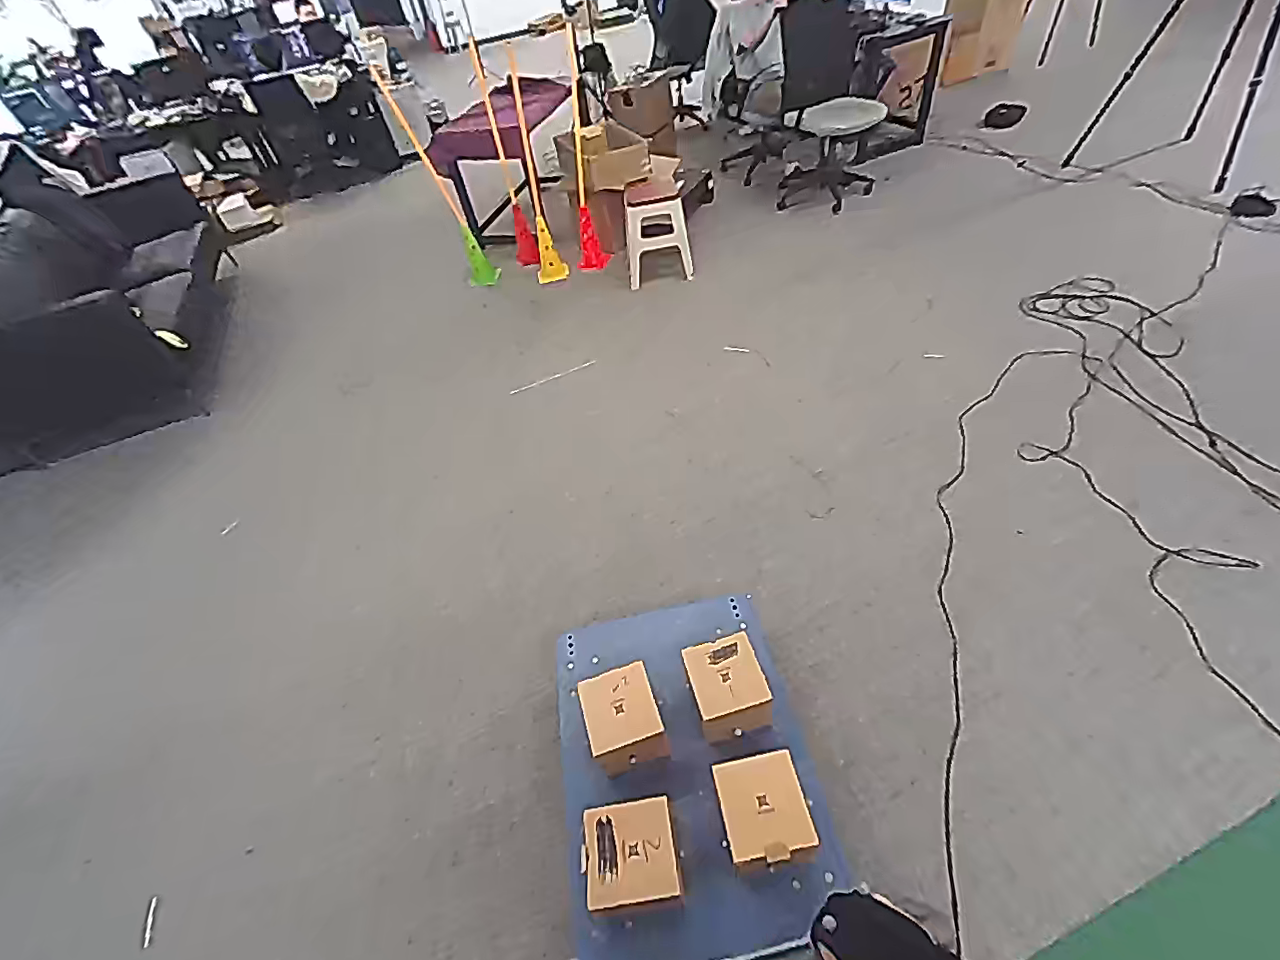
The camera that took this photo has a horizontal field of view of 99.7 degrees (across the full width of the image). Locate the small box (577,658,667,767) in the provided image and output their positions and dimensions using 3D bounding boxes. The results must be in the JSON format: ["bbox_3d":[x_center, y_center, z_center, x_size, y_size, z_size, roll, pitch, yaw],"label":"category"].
[{"bbox_3d":[-0.041,0.564,1.296,0.168,0.176,0.179,-17,47,-7],"label":"small box"}]

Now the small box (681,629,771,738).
[{"bbox_3d":[0.205,0.496,1.316,0.168,0.176,0.179,-16,48,-4],"label":"small box"}]

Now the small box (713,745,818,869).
[{"bbox_3d":[0.253,0.687,1.134,0.168,0.176,0.179,-12,48,-1],"label":"small box"}]
